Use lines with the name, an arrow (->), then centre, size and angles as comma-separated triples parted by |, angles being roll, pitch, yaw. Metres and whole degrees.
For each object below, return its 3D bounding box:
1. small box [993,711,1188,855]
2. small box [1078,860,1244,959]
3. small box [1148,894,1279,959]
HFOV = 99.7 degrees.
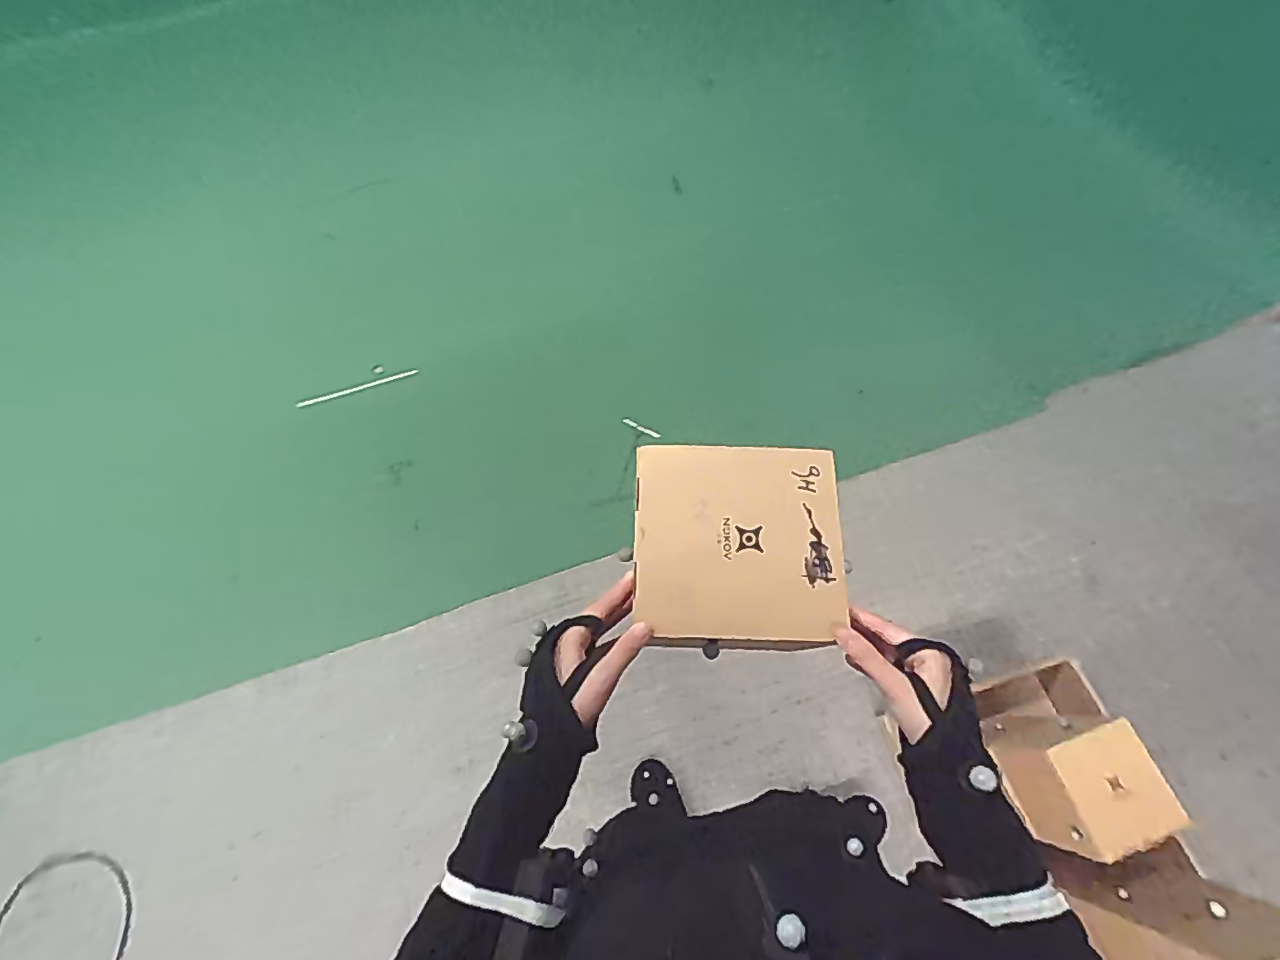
small box -> 0.795, 0.535, 0.980 | 0.168, 0.176, 0.179 | -19, 69, -5
small box -> 0.873, 0.756, 0.882 | 0.179, 0.176, 0.168 | -16, 67, -5
small box -> 0.866, 0.700, 0.731 | 0.168, 0.176, 0.179 | -14, 63, -2
